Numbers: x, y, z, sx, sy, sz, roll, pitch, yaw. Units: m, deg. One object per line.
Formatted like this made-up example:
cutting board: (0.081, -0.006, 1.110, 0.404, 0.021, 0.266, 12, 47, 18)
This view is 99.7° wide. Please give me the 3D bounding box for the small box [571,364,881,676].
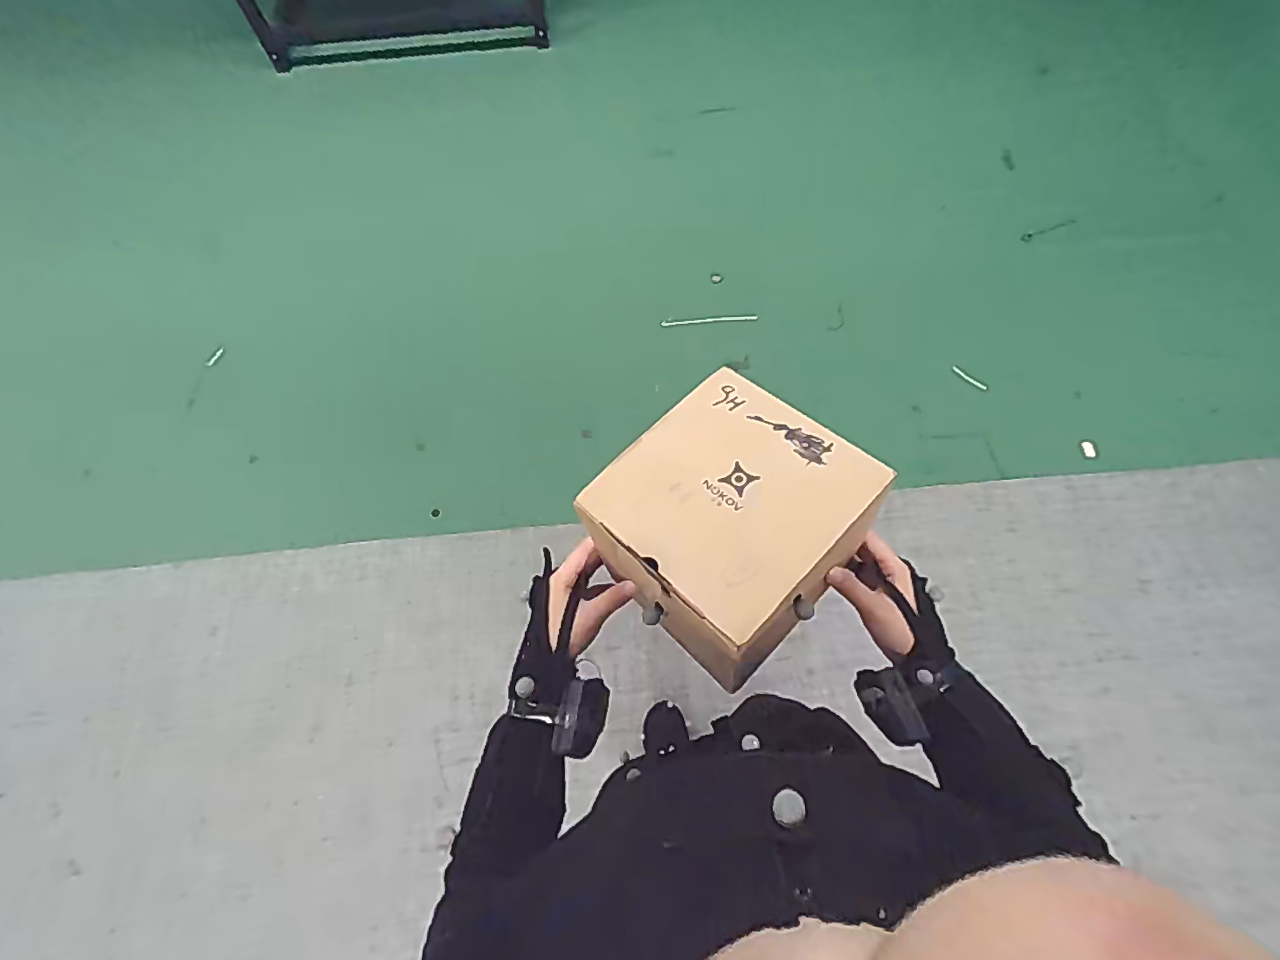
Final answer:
small box: (0.073, 0.042, 0.471, 0.179, 0.176, 0.168, -43, 62, -15)
